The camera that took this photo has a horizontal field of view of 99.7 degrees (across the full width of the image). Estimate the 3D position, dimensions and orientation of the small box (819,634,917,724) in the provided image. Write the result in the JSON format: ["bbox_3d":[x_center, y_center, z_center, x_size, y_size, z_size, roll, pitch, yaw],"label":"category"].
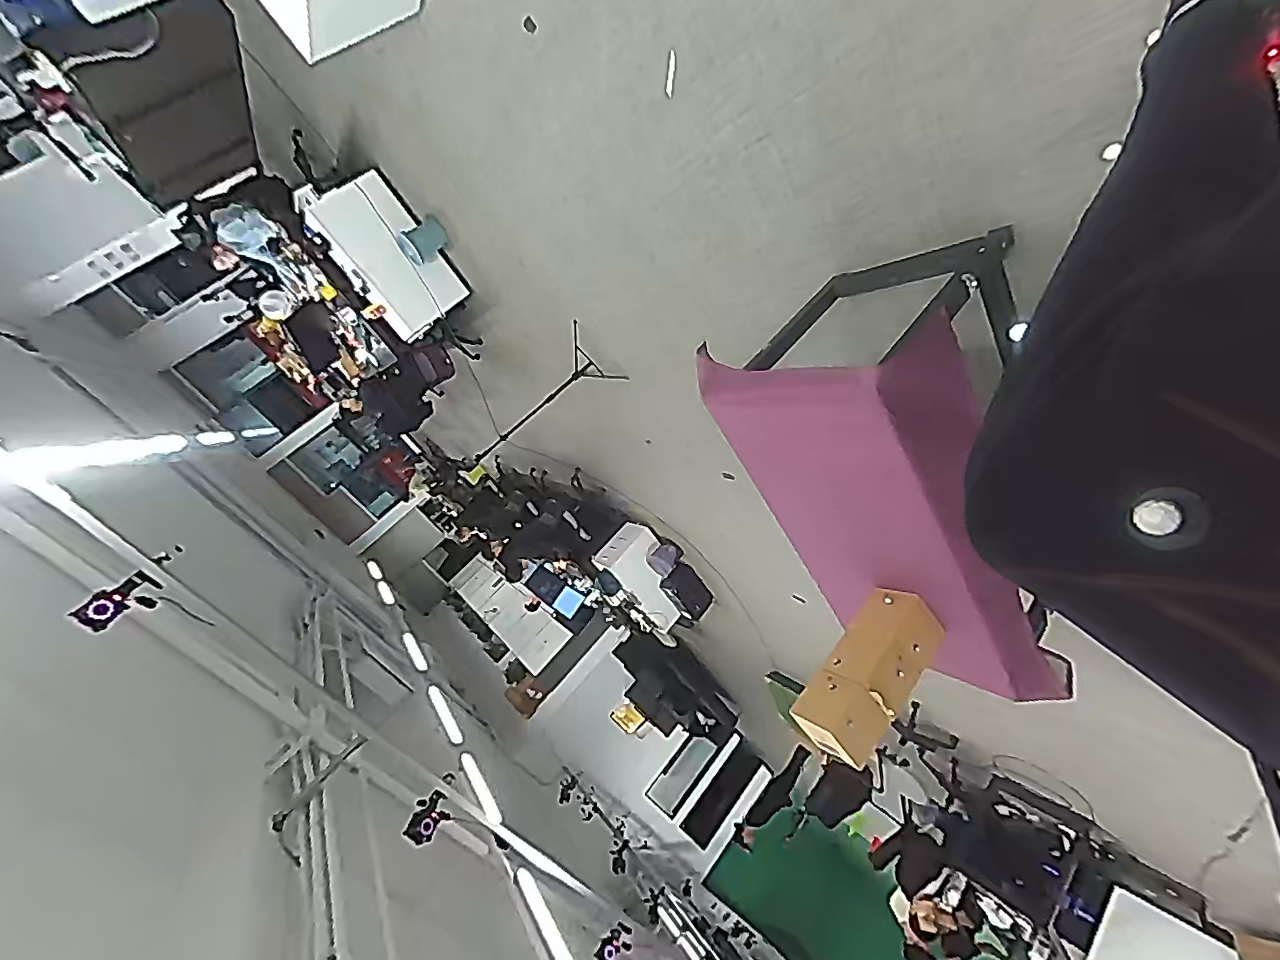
[{"bbox_3d":[0.684,0.586,1.621,0.168,0.176,0.179,49,159,-14],"label":"small box"}]

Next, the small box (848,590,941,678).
[{"bbox_3d":[0.790,0.469,1.670,0.179,0.176,0.168,51,158,-14],"label":"small box"}]
